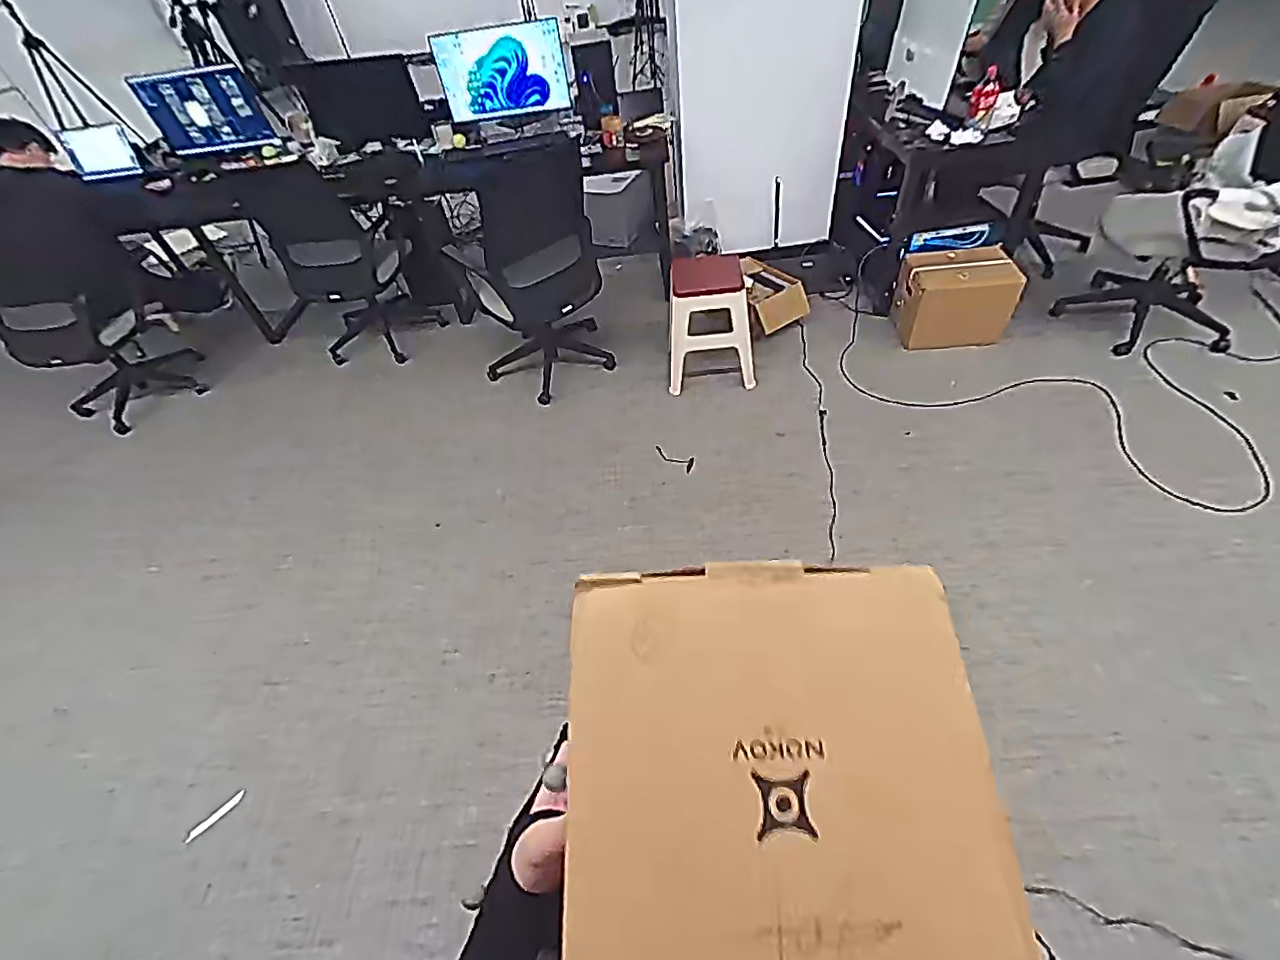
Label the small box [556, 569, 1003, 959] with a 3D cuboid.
[{"bbox_3d":[0.049,0.157,0.294,0.168,0.176,0.179,-1,64,-1],"label":"small box"}]
